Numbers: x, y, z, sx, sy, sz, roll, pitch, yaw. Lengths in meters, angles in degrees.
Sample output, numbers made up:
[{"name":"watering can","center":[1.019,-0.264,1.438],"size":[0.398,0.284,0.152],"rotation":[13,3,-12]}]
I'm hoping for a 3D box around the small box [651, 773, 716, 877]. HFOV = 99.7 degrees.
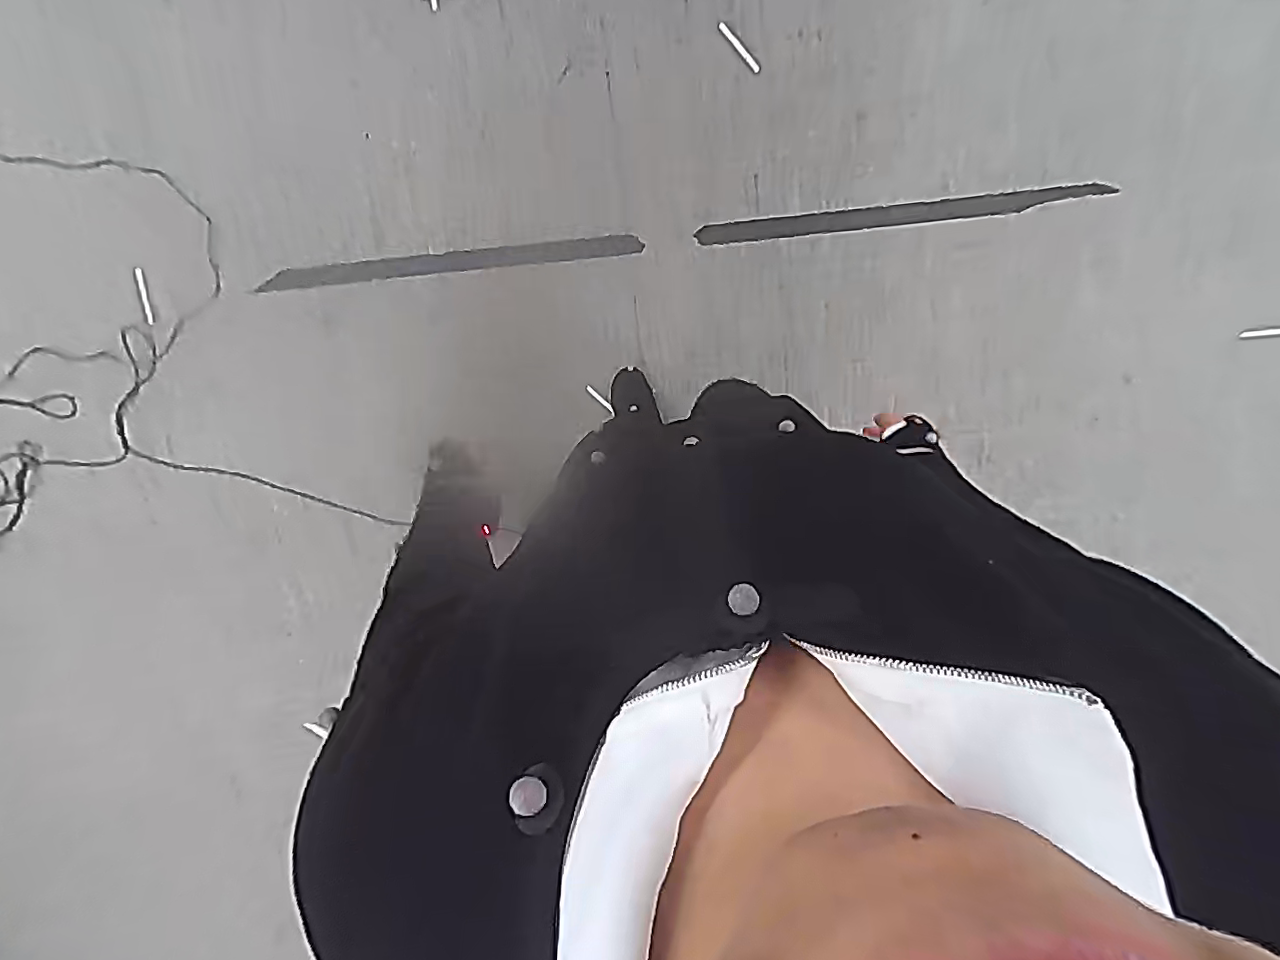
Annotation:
[{"name":"small box","center":[0.115,0.936,1.476],"size":[0.168,0.176,0.179],"rotation":[-3,100,0]}]
